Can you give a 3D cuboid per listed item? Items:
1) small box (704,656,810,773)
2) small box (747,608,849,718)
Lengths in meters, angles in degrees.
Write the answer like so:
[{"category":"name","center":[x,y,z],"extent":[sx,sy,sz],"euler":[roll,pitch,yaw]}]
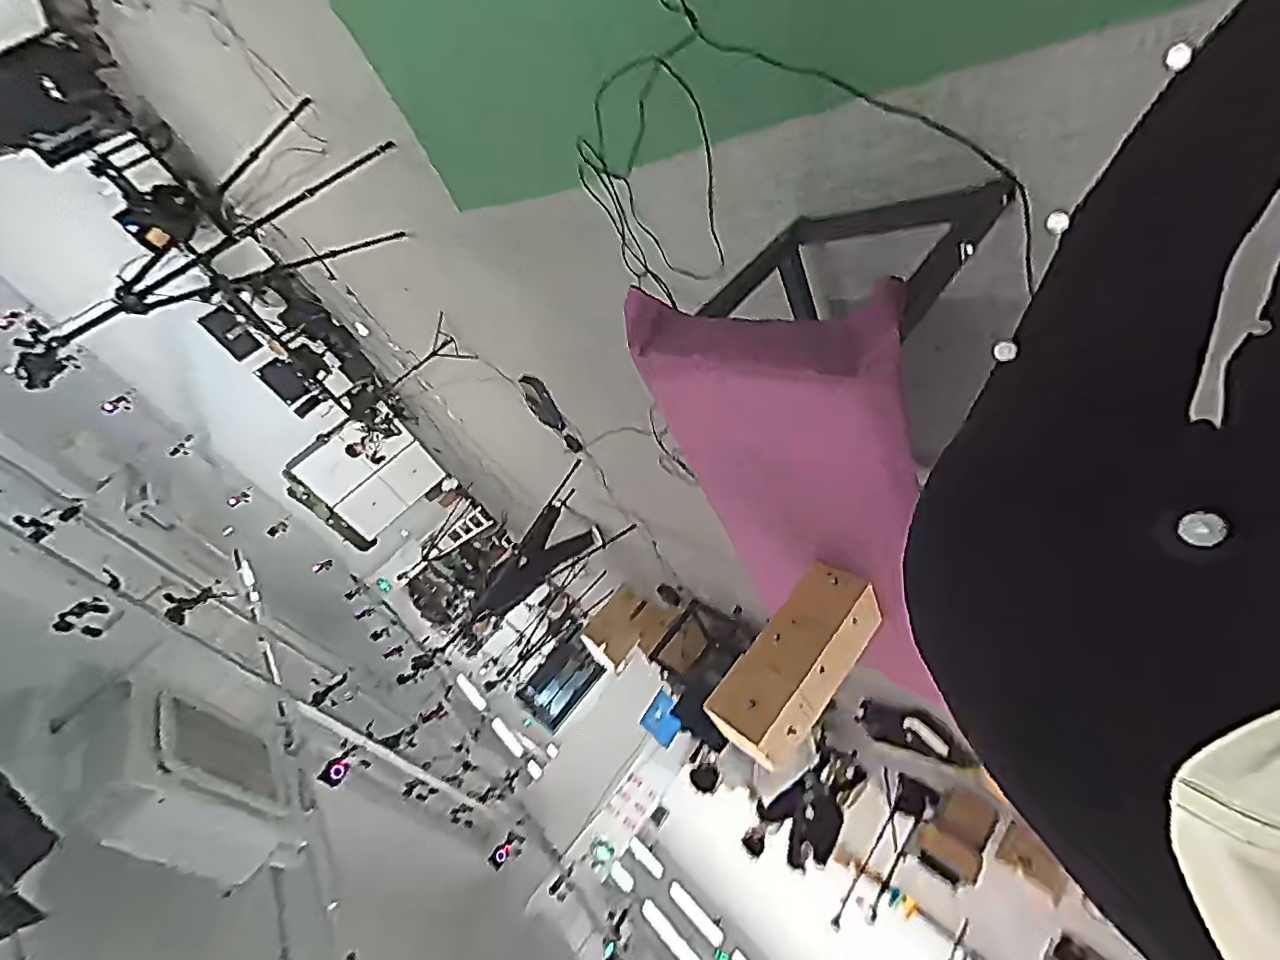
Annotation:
[{"category":"small box","center":[0.295,0.567,1.326],"extent":[0.179,0.176,0.168],"euler":[18,147,49]},{"category":"small box","center":[0.406,0.459,1.379],"extent":[0.168,0.176,0.179],"euler":[20,148,48]}]
